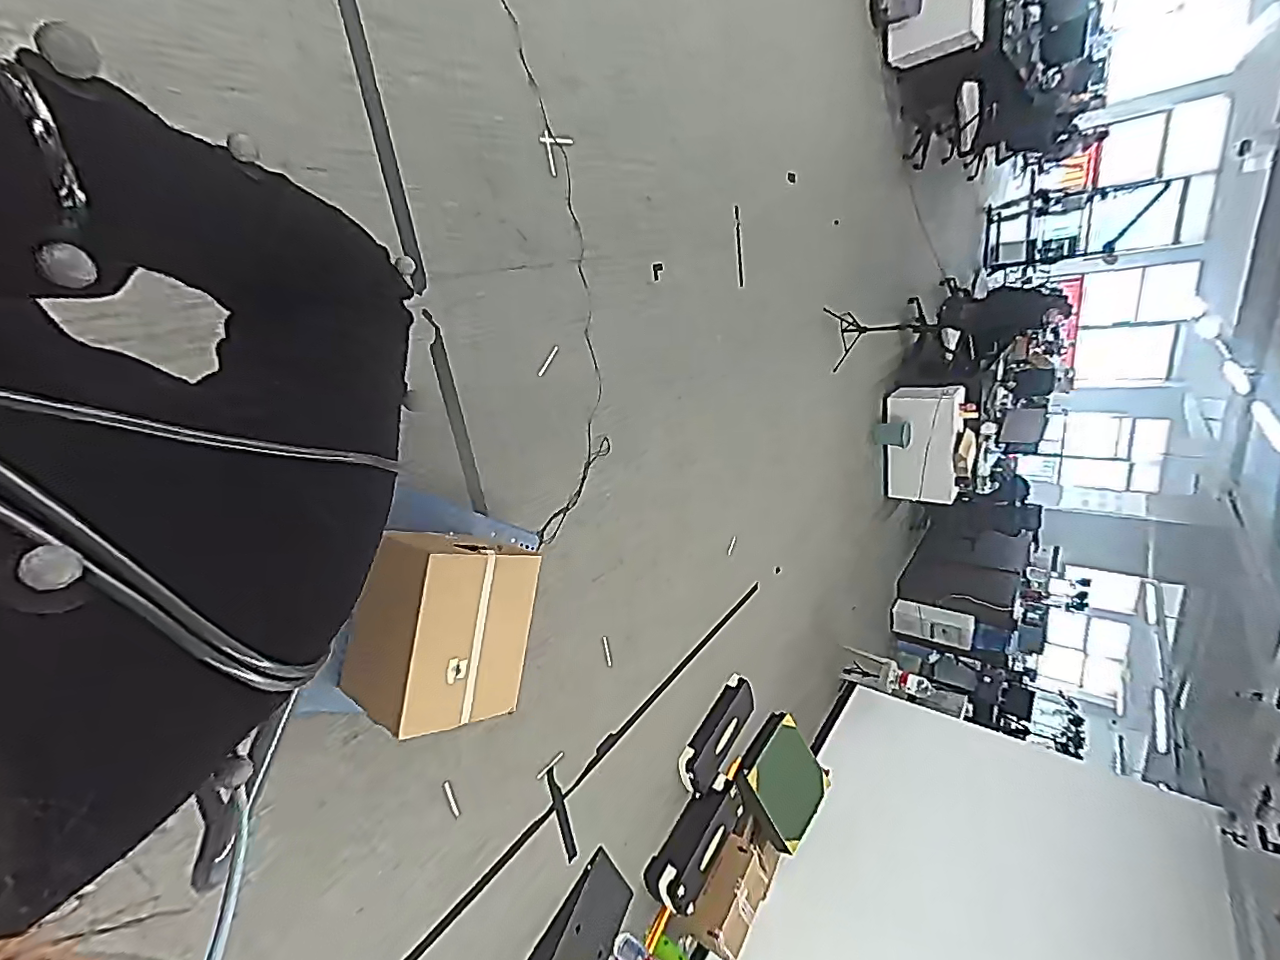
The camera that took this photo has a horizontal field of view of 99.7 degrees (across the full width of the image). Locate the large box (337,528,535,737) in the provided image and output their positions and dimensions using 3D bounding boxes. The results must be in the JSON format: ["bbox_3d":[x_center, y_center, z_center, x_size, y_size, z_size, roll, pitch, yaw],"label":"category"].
[{"bbox_3d":[-0.506,0.345,1.346,0.320,0.320,0.408,12,88,-50],"label":"large box"}]
